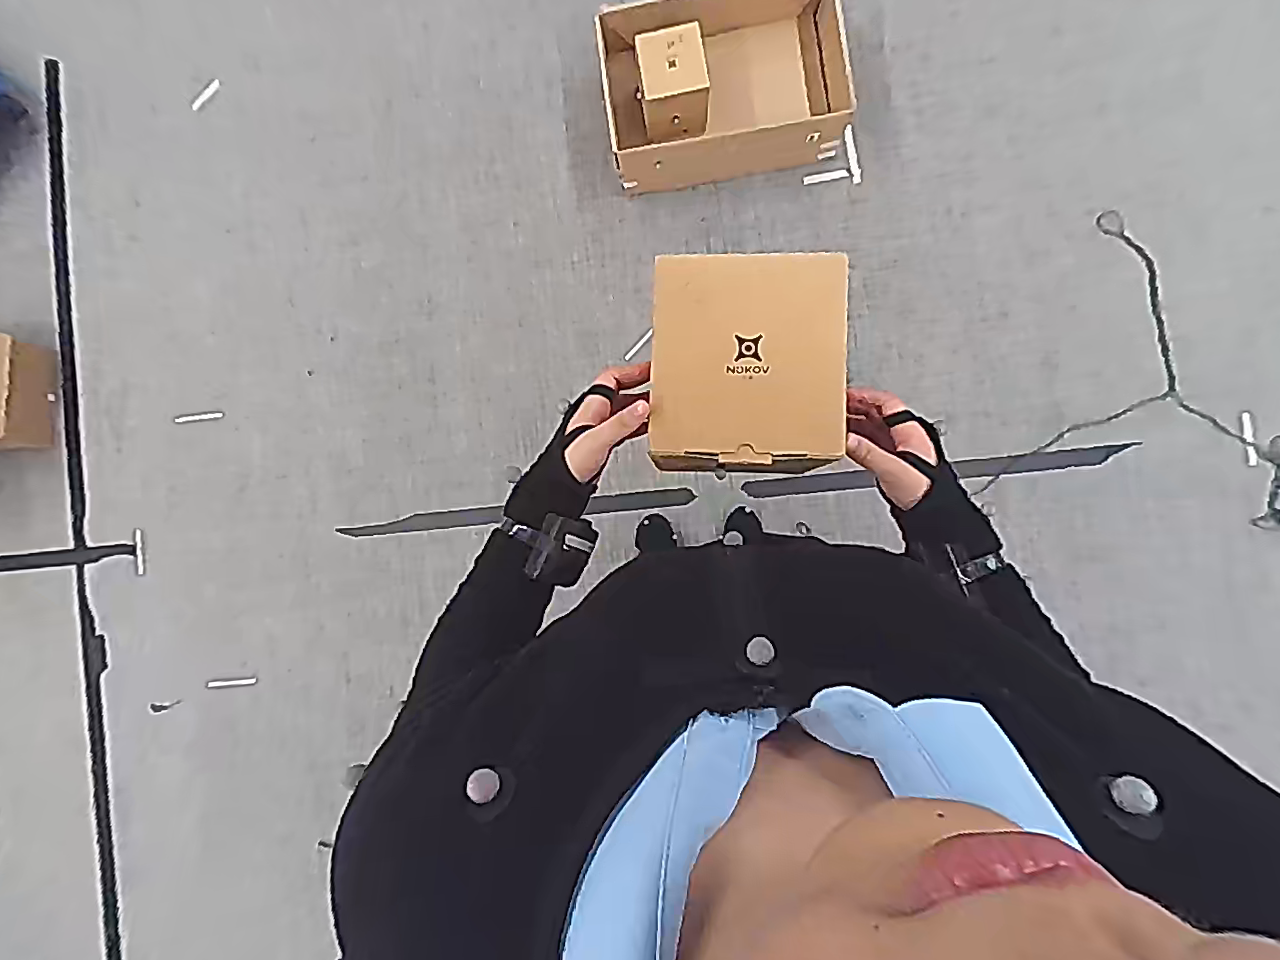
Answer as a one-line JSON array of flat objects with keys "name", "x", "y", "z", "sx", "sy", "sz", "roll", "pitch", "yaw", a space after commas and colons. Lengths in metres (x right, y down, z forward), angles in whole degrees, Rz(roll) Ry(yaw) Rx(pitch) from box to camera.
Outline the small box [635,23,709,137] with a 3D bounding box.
[{"name": "small box", "x": 0.086, "y": -1.045, "z": 1.434, "sx": 0.168, "sy": 0.176, "sz": 0.179, "roll": -10, "pitch": 87, "yaw": 3}]

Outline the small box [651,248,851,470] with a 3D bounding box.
[{"name": "small box", "x": 0.098, "y": -0.105, "z": 0.532, "sx": 0.168, "sy": 0.176, "sz": 0.179, "roll": 1, "pitch": 87, "yaw": 5}]
